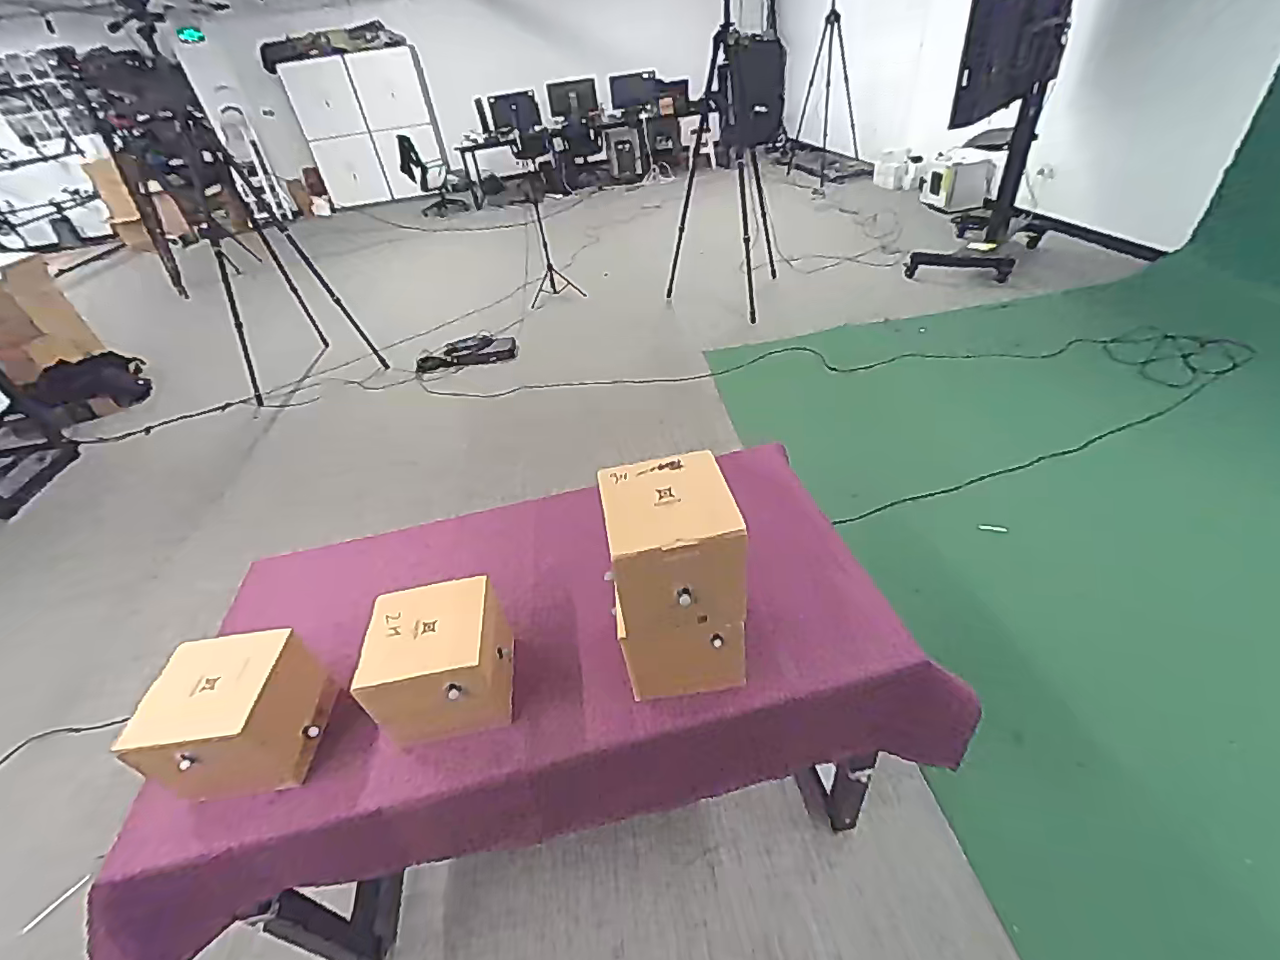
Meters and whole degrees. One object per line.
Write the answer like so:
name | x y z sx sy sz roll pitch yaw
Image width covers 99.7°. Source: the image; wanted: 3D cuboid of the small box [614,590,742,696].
small box | 0.057 0.217 0.847 0.179 0.176 0.168 -8 38 1

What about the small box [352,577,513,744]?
small box | -0.303 0.280 0.837 0.179 0.176 0.168 -11 38 -2

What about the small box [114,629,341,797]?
small box | -0.593 0.350 0.809 0.179 0.176 0.168 -8 39 1

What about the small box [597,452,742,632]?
small box | 0.040 0.089 0.745 0.168 0.176 0.179 -10 39 -3
